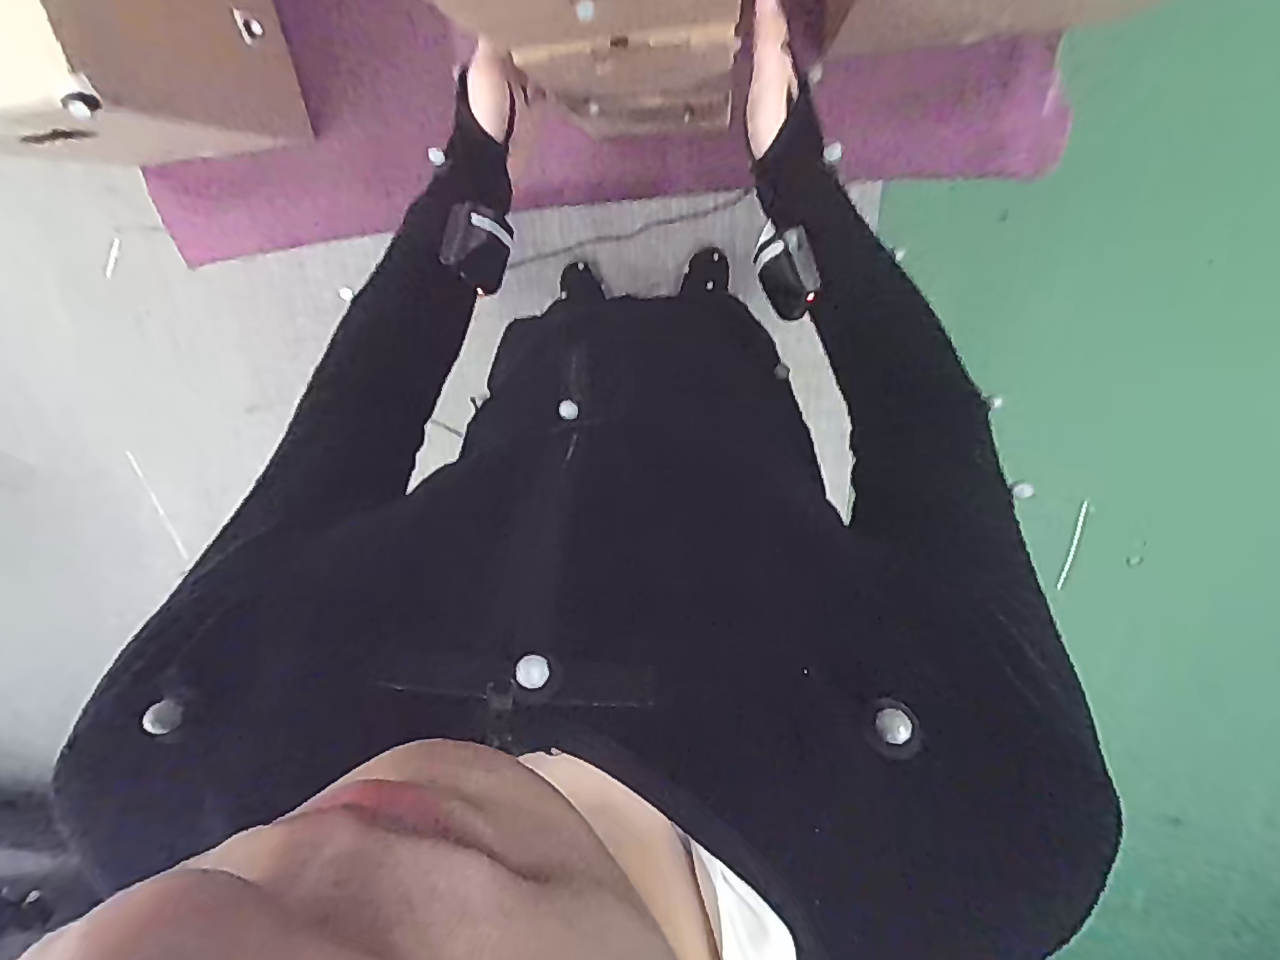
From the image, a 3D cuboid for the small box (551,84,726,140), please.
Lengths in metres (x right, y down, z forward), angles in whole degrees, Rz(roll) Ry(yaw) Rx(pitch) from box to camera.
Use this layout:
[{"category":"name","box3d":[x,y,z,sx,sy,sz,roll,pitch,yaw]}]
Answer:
[{"category":"small box","box3d":[0.005,-0.476,0.580,0.179,0.176,0.168,1,114,7]}]

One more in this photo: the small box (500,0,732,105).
[{"category":"small box","box3d":[-0.010,-0.415,0.427,0.168,0.176,0.179,0,114,7]}]

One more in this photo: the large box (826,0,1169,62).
[{"category":"large box","box3d":[0.329,-0.602,0.393,0.320,0.320,0.408,0,116,10]}]
